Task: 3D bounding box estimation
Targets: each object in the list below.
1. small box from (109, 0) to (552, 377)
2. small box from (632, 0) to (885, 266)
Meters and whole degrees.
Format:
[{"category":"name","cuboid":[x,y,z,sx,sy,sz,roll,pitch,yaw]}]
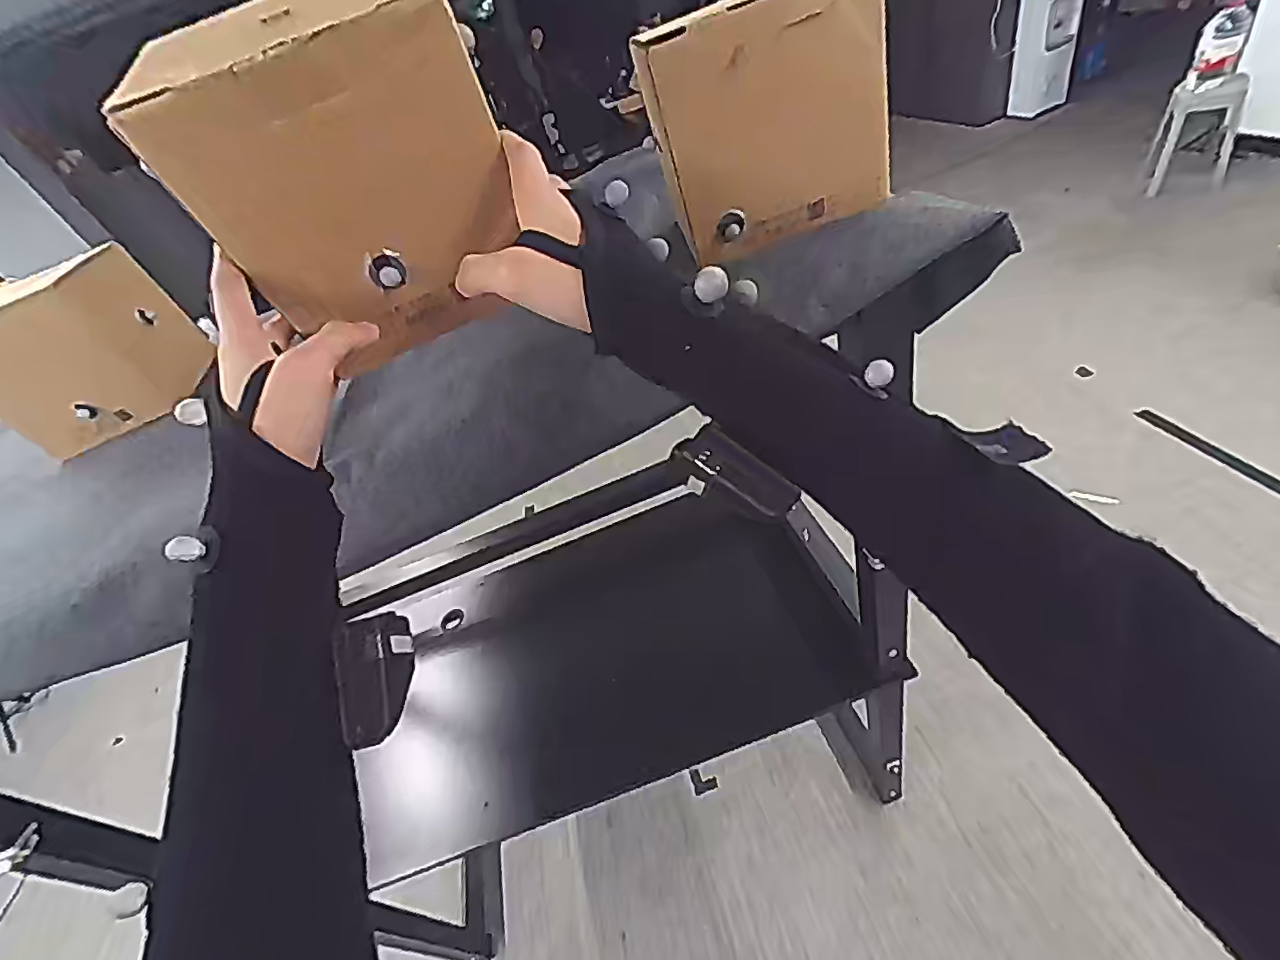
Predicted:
[{"category":"small box","cuboid":[-0.180,-0.202,0.361,0.168,0.176,0.179,-28,53,-6]},{"category":"small box","cuboid":[0.101,-0.311,0.475,0.168,0.176,0.179,-17,39,8]}]
